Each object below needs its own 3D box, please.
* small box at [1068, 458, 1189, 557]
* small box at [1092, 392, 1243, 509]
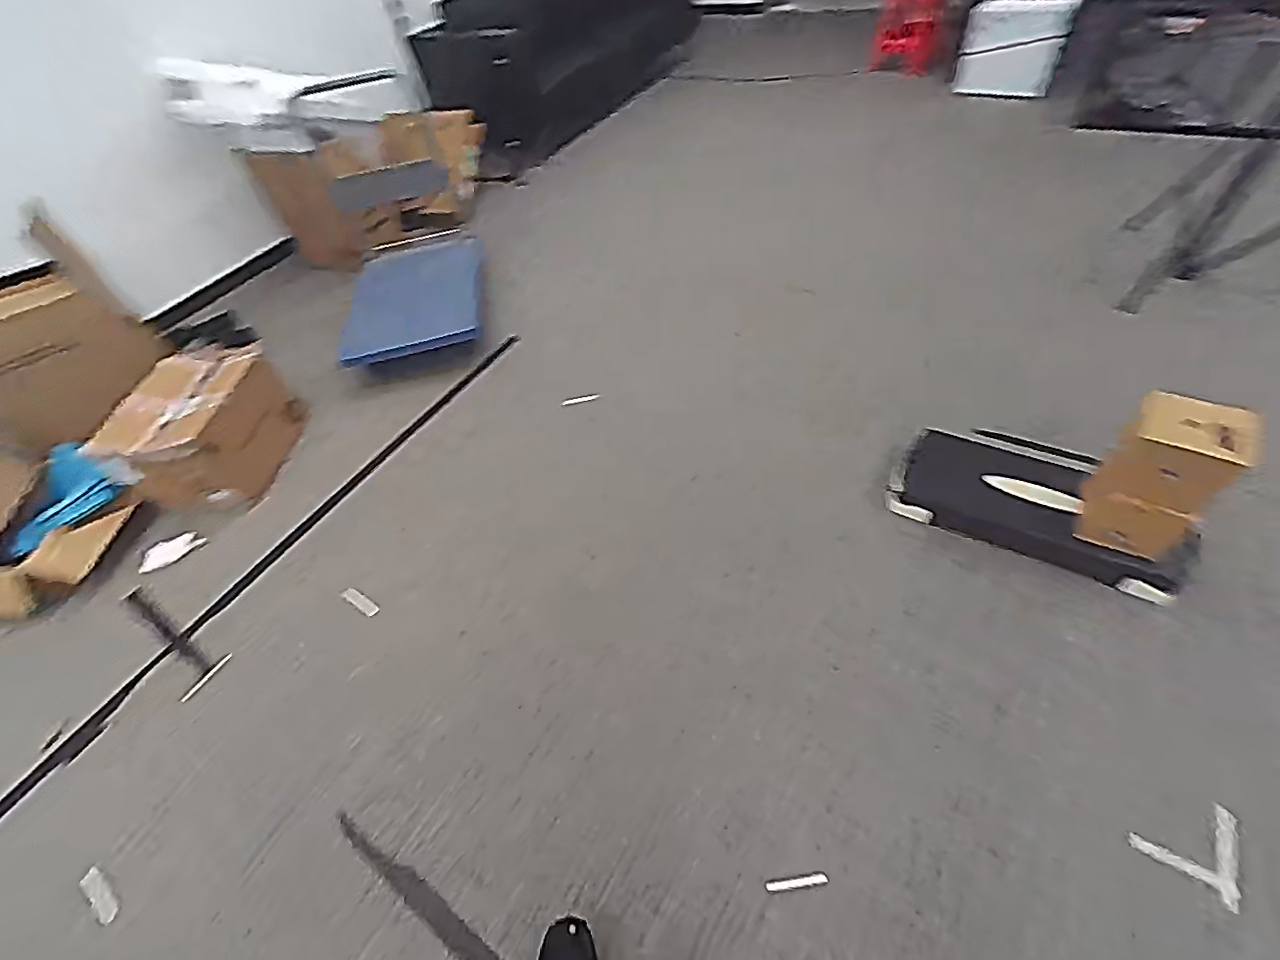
[{"bbox_3d":[1.174,0.055,1.310,0.168,0.176,0.179,19,57,24],"label":"small box"},{"bbox_3d":[1.155,-0.060,1.193,0.179,0.176,0.168,24,59,27],"label":"small box"}]
